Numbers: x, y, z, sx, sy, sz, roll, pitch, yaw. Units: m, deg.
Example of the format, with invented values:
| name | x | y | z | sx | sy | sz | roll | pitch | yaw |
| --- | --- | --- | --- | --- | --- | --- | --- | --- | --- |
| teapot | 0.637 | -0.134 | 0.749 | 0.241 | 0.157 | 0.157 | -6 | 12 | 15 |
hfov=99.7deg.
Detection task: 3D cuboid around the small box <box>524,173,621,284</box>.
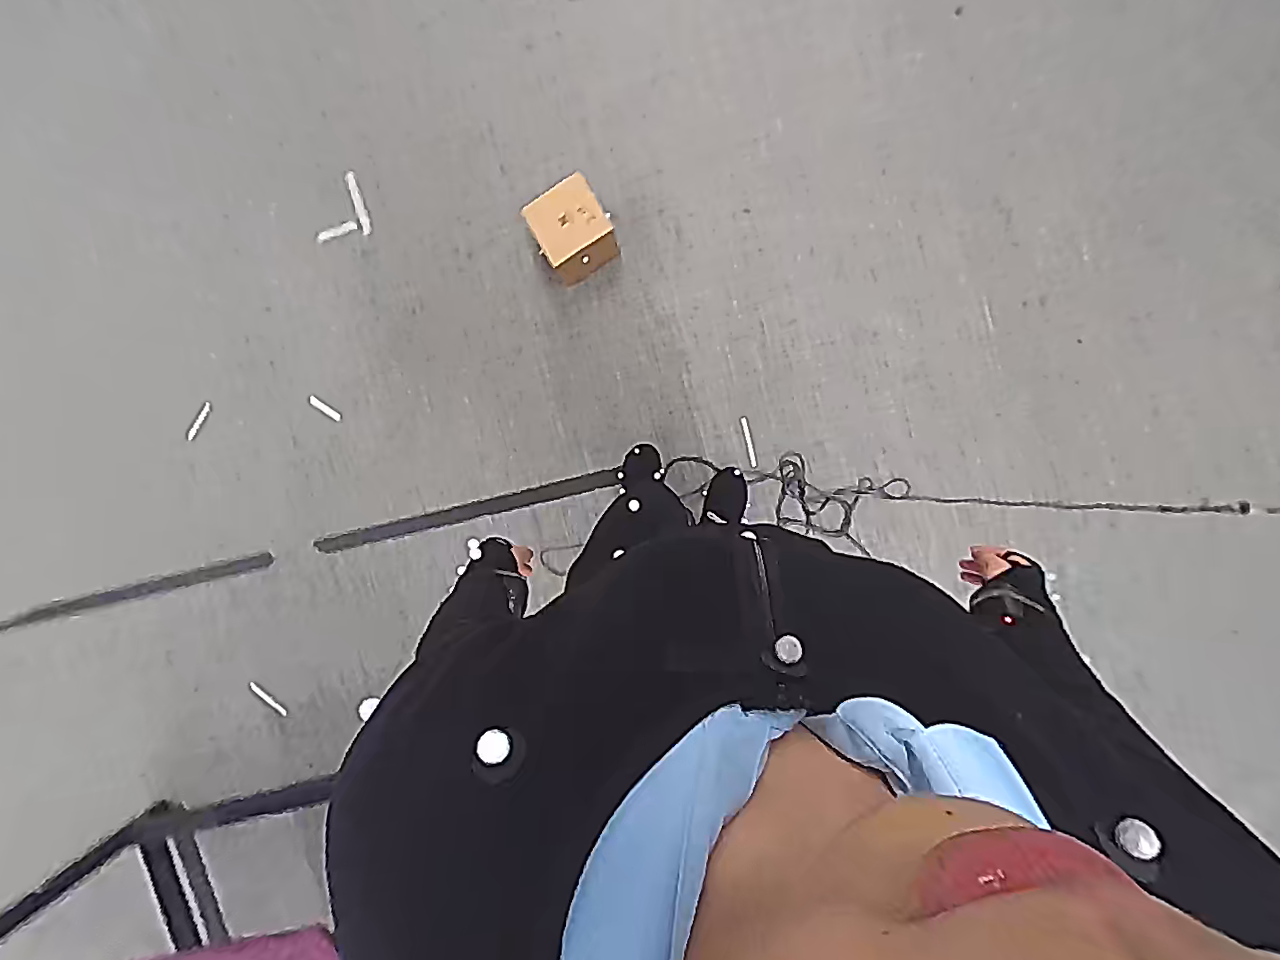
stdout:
| name | x | y | z | sx | sy | sz | roll | pitch | yaw |
| --- | --- | --- | --- | --- | --- | --- | --- | --- | --- |
| small box | -0.166 | -0.634 | 1.391 | 0.179 | 0.176 | 0.168 | -30 | 91 | 5 |
